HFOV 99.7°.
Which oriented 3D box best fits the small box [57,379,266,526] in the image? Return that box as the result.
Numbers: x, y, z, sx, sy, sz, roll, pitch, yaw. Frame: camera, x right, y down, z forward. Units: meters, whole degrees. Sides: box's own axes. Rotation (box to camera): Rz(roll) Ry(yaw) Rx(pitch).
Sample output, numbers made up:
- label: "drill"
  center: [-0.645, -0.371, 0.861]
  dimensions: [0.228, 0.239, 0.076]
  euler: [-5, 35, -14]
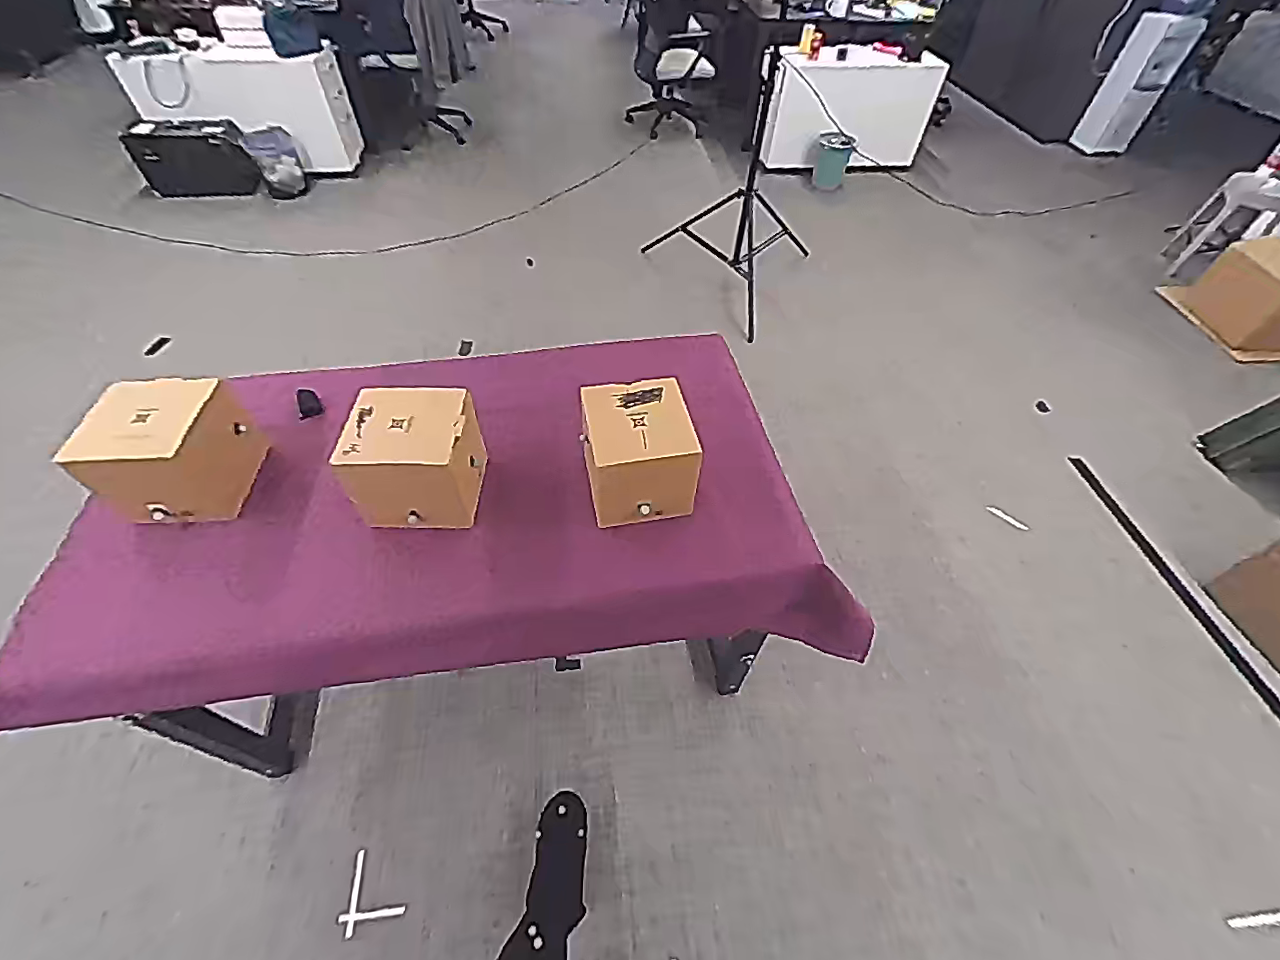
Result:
- label: "small box"
  center: [-0.759, -0.044, 0.887]
  dimensions: [0.168, 0.176, 0.179]
  euler: [-3, 52, -4]

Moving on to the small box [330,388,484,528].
- label: "small box"
  center: [-0.367, -0.032, 0.895]
  dimensions: [0.179, 0.176, 0.168]
  euler: [1, 51, -3]

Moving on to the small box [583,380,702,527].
- label: "small box"
  center: [-0.004, -0.045, 0.920]
  dimensions: [0.168, 0.176, 0.179]
  euler: [-8, 52, -8]
